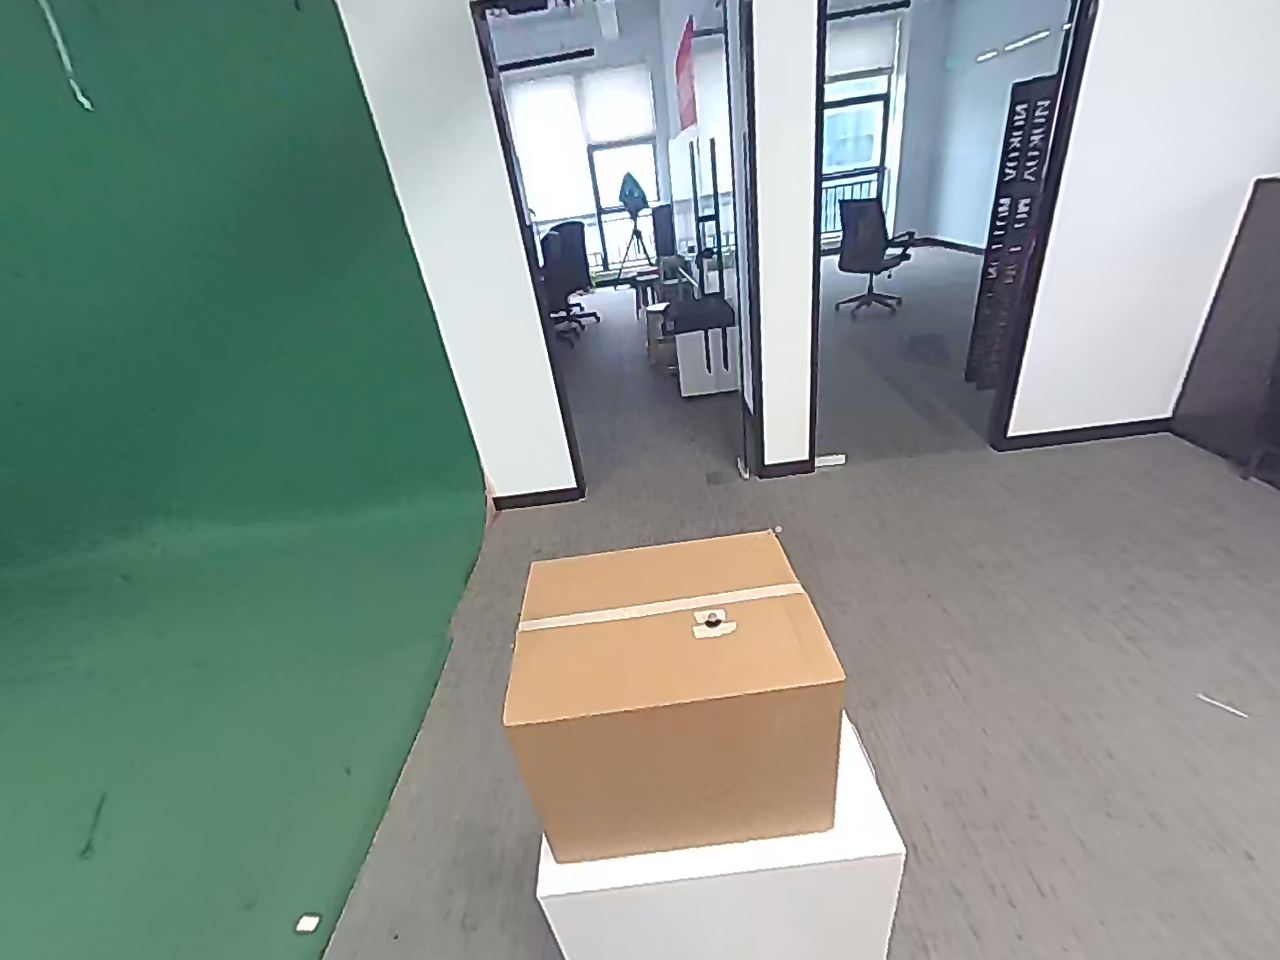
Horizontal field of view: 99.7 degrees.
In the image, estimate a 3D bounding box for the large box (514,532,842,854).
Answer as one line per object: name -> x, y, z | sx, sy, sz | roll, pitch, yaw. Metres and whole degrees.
large box -> 0.049, 0.313, 0.836 | 0.408, 0.320, 0.320 | -7, 29, 0
